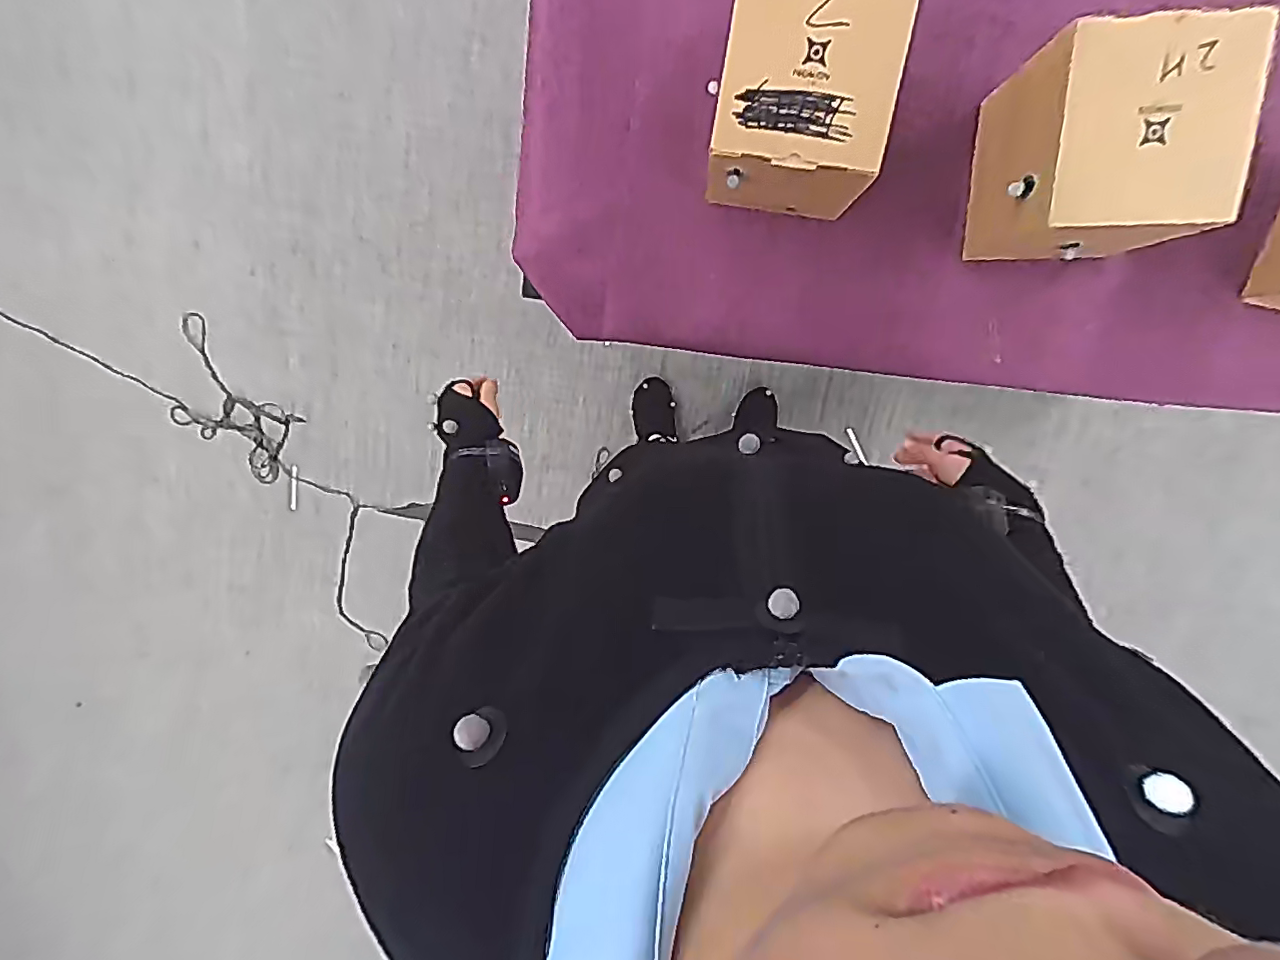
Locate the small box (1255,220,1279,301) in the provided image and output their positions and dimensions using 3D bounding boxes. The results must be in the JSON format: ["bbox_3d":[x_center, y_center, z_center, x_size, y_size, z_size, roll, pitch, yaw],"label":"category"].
[{"bbox_3d":[0.811,-0.271,0.546,0.168,0.176,0.179,14,102,3],"label":"small box"}]

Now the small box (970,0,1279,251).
[{"bbox_3d":[0.474,-0.342,0.562,0.168,0.176,0.179,1,102,5],"label":"small box"}]
